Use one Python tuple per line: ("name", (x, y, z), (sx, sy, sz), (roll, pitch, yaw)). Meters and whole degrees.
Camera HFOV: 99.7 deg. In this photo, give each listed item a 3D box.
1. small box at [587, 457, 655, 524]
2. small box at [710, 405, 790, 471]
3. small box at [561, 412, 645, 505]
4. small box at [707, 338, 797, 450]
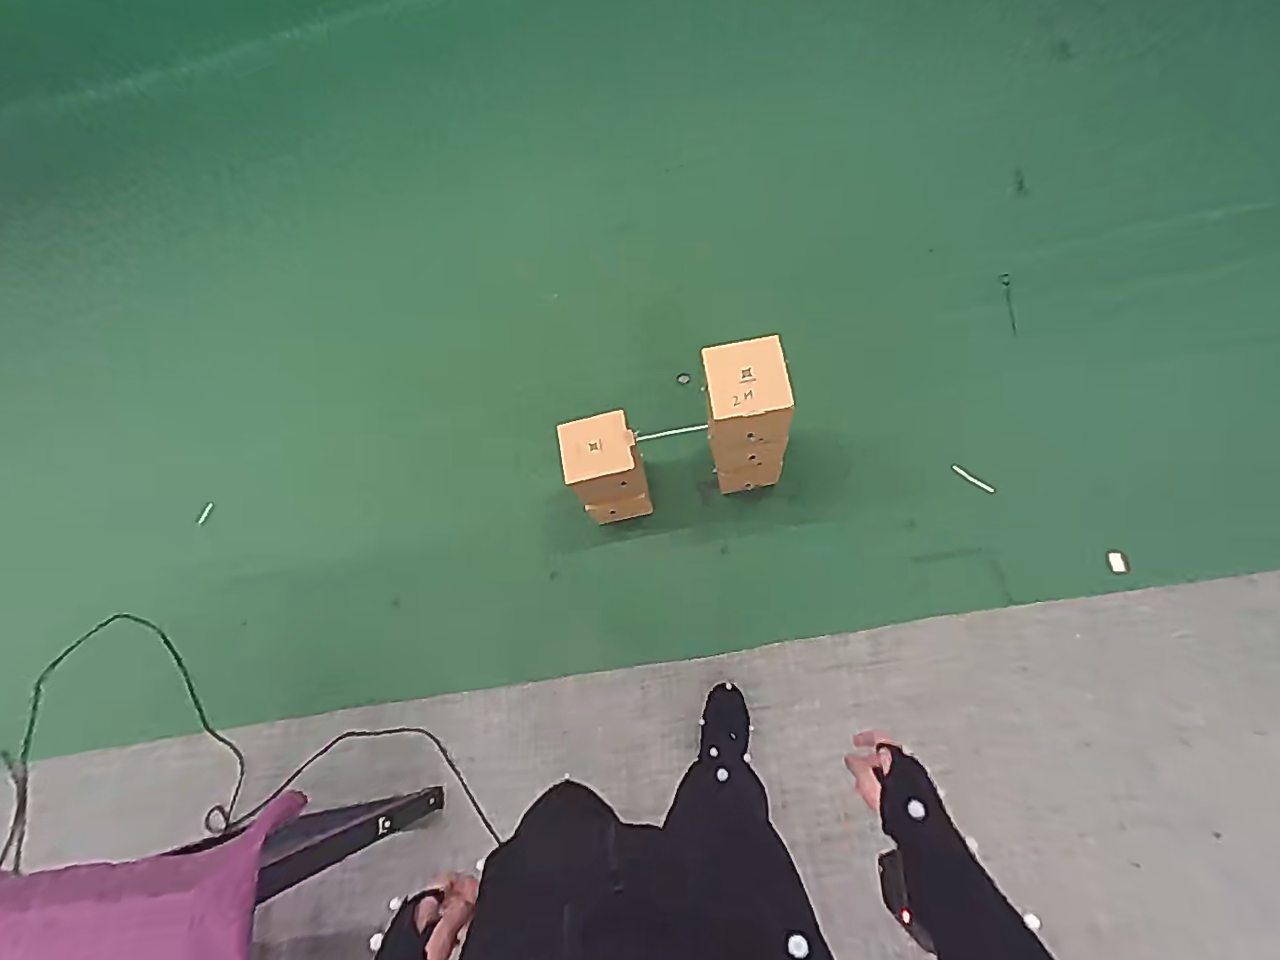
("small box", (-0.059, 0.018, 1.534), (0.168, 0.176, 0.179), (-13, 69, 5))
("small box", (0.270, -0.131, 1.352), (0.168, 0.176, 0.179), (-10, 71, 5))
("small box", (-0.088, -0.050, 1.388), (0.179, 0.176, 0.168), (-13, 68, 6))
("small box", (0.241, -0.184, 1.198), (0.168, 0.176, 0.179), (-9, 71, 7))
